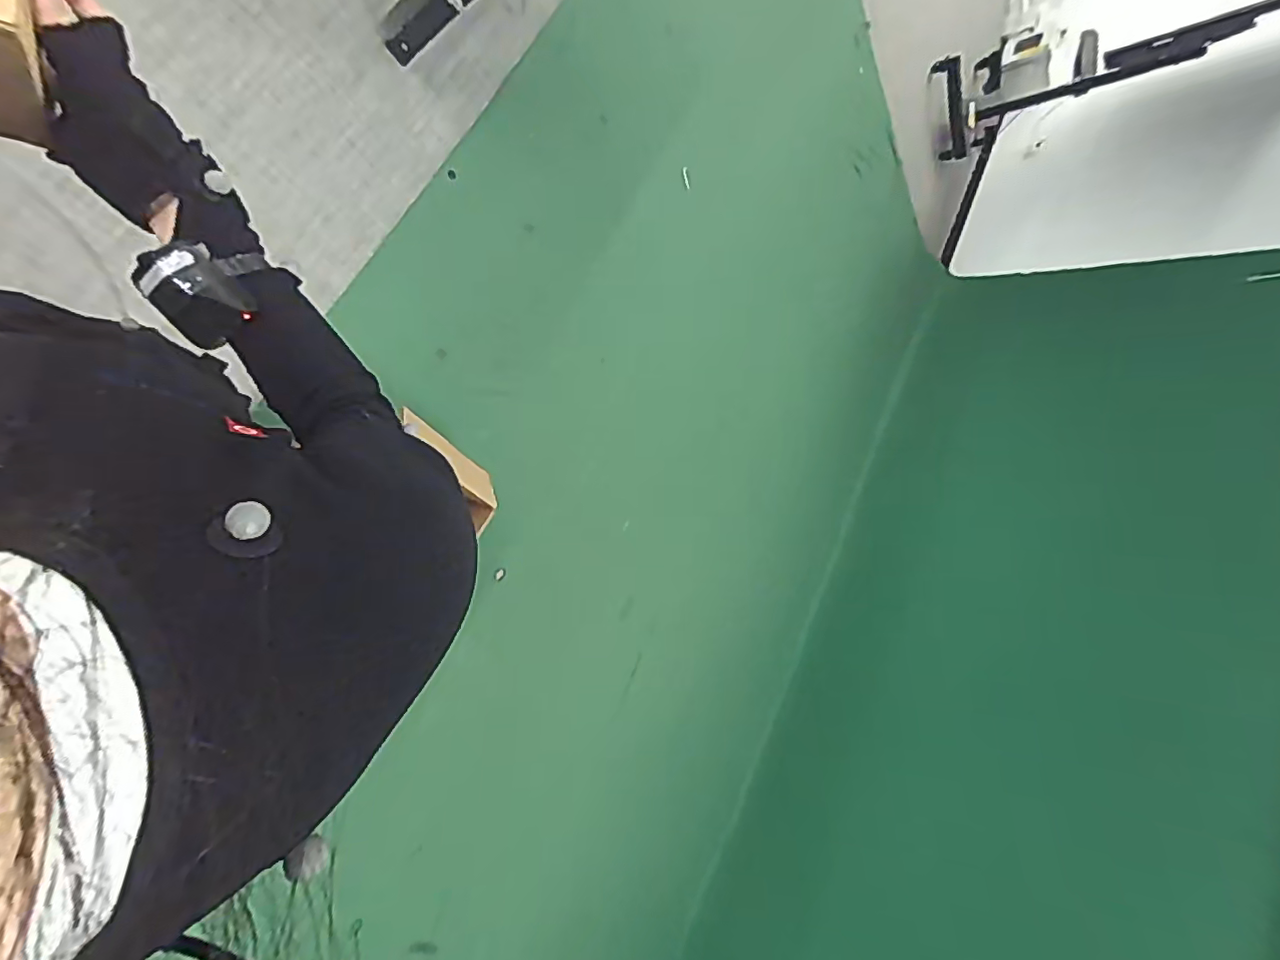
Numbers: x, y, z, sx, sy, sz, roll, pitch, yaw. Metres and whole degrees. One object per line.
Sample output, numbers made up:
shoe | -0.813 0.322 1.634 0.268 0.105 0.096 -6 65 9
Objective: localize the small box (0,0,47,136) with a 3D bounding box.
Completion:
small box | -0.450 -0.331 0.289 0.168 0.176 0.179 -3 98 -43
